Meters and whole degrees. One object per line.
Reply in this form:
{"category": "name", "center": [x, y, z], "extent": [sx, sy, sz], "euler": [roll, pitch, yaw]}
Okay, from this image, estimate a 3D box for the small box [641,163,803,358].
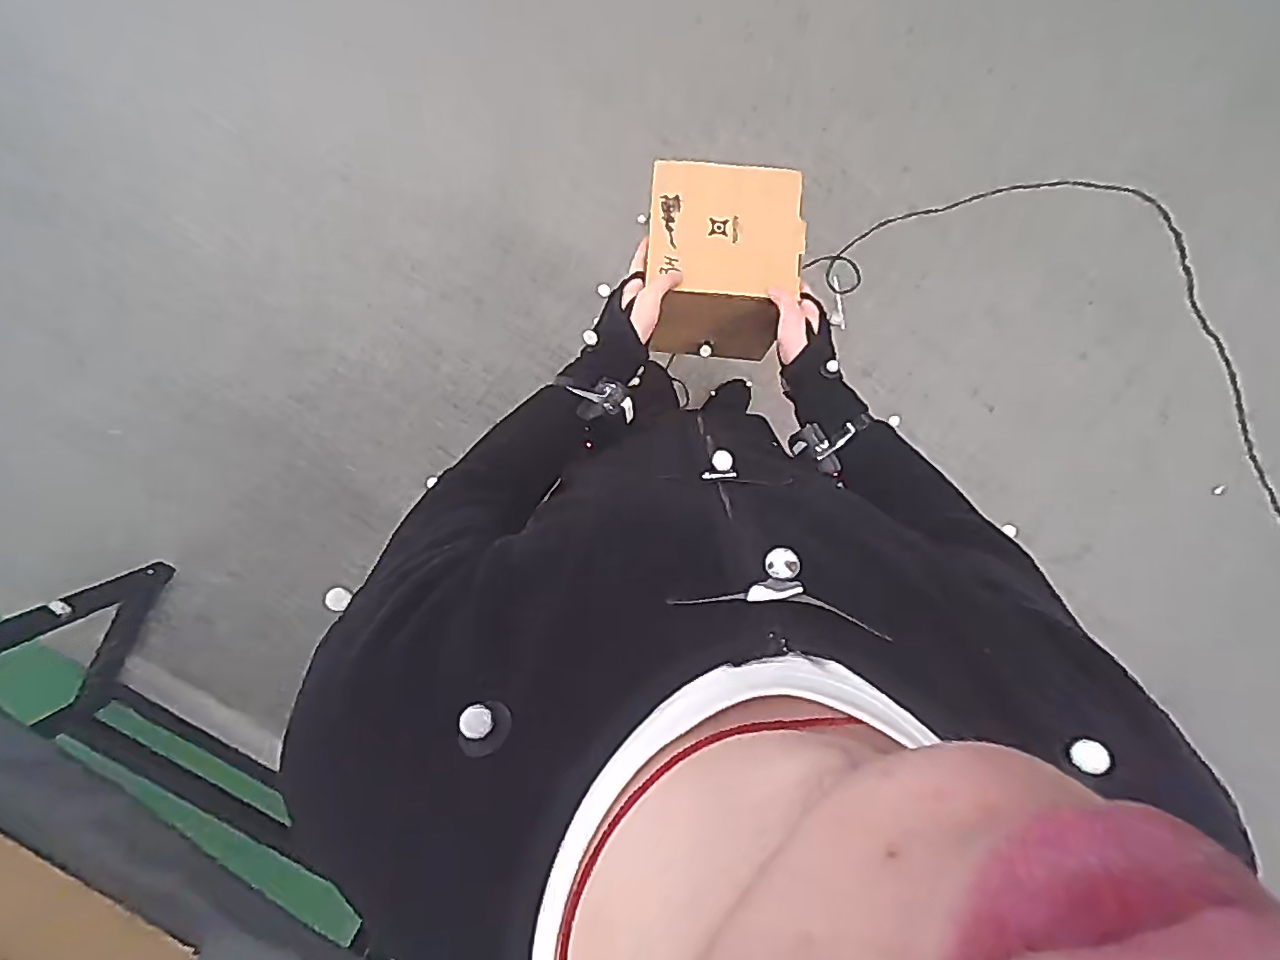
{"category": "small box", "center": [0.096, -0.268, 0.696], "extent": [0.179, 0.176, 0.168], "euler": [4, 79, -1]}
